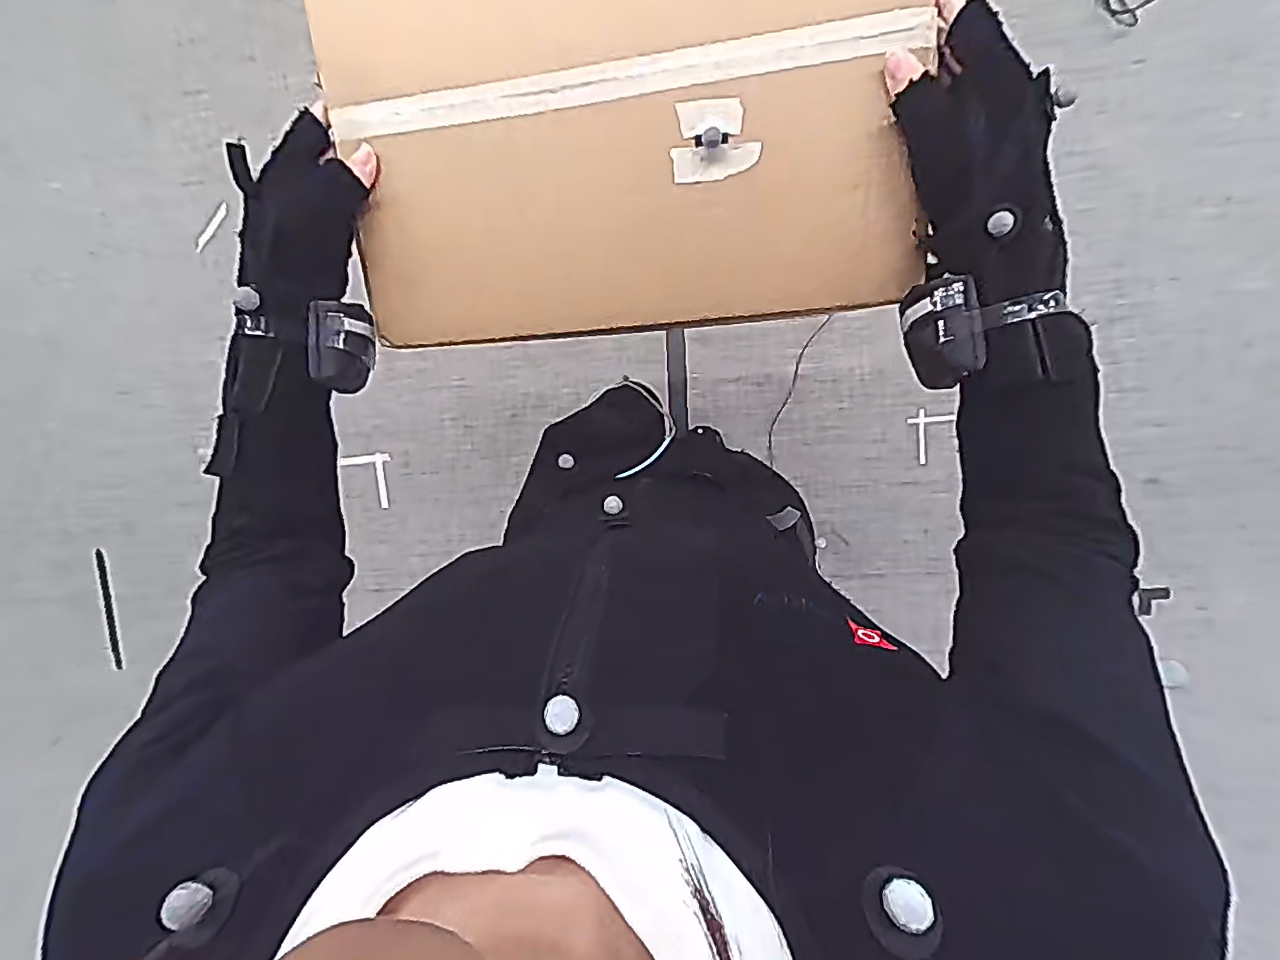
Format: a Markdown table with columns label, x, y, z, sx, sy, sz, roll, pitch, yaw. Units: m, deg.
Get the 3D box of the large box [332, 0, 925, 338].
| label | x | y | z | sx | sy | sz | roll | pitch | yaw |
| --- | --- | --- | --- | --- | --- | --- | --- | --- | --- |
| large box | 0.003 | -0.314 | 0.514 | 0.408 | 0.320 | 0.320 | -3 | 106 | 9 |
